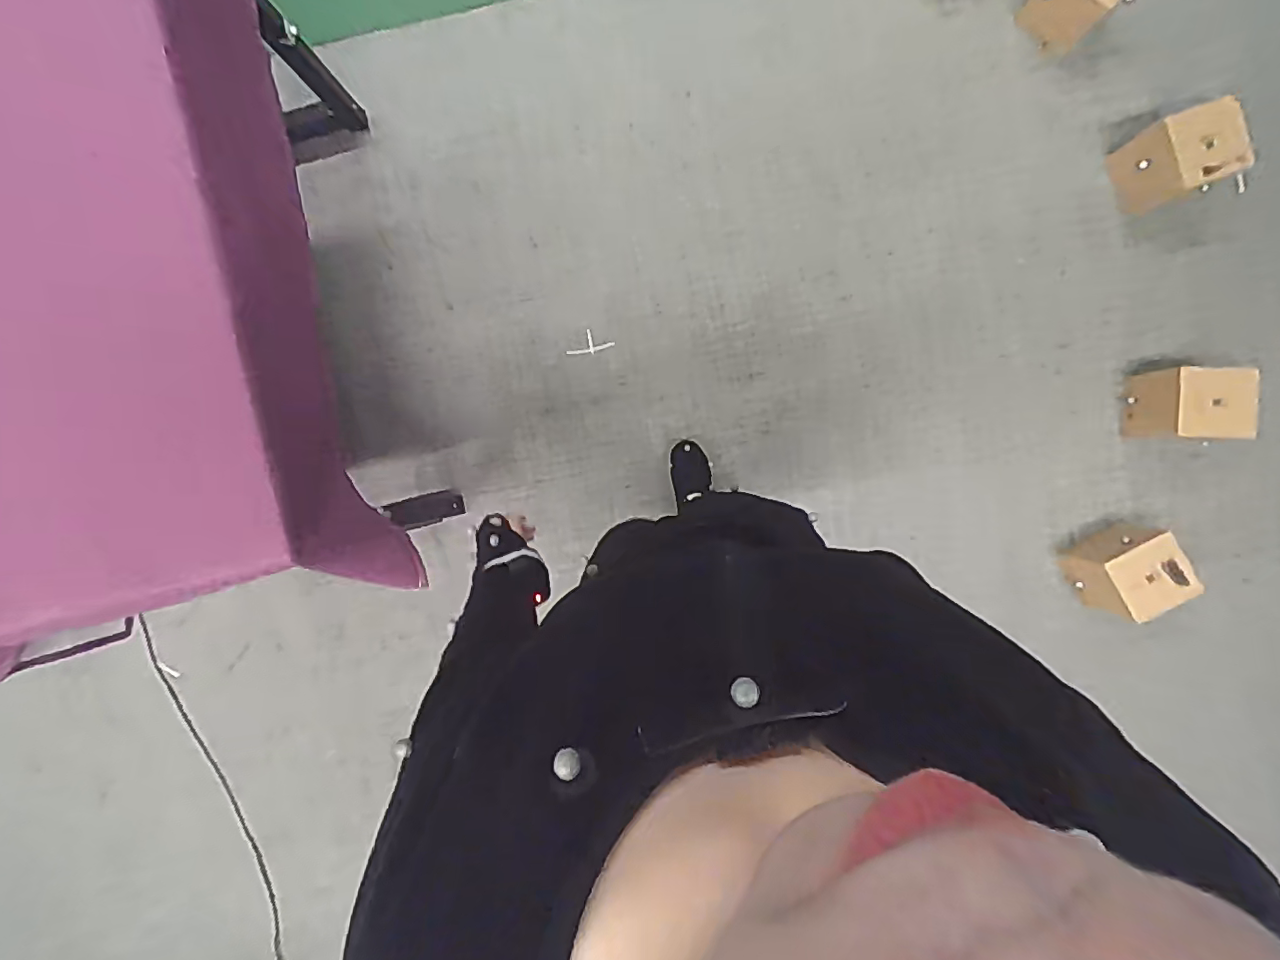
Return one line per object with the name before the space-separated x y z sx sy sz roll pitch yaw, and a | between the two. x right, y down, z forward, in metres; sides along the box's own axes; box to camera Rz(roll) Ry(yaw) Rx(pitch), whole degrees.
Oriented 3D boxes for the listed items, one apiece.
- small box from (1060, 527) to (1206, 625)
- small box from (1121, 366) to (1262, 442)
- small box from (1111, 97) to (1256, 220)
small box | 1.216 0.229 1.348 0.179 0.176 0.168 -29 88 4
small box | 1.352 -0.182 1.335 0.179 0.176 0.168 3 90 3
small box | 1.319 -0.780 1.329 0.168 0.176 0.179 -17 89 4
